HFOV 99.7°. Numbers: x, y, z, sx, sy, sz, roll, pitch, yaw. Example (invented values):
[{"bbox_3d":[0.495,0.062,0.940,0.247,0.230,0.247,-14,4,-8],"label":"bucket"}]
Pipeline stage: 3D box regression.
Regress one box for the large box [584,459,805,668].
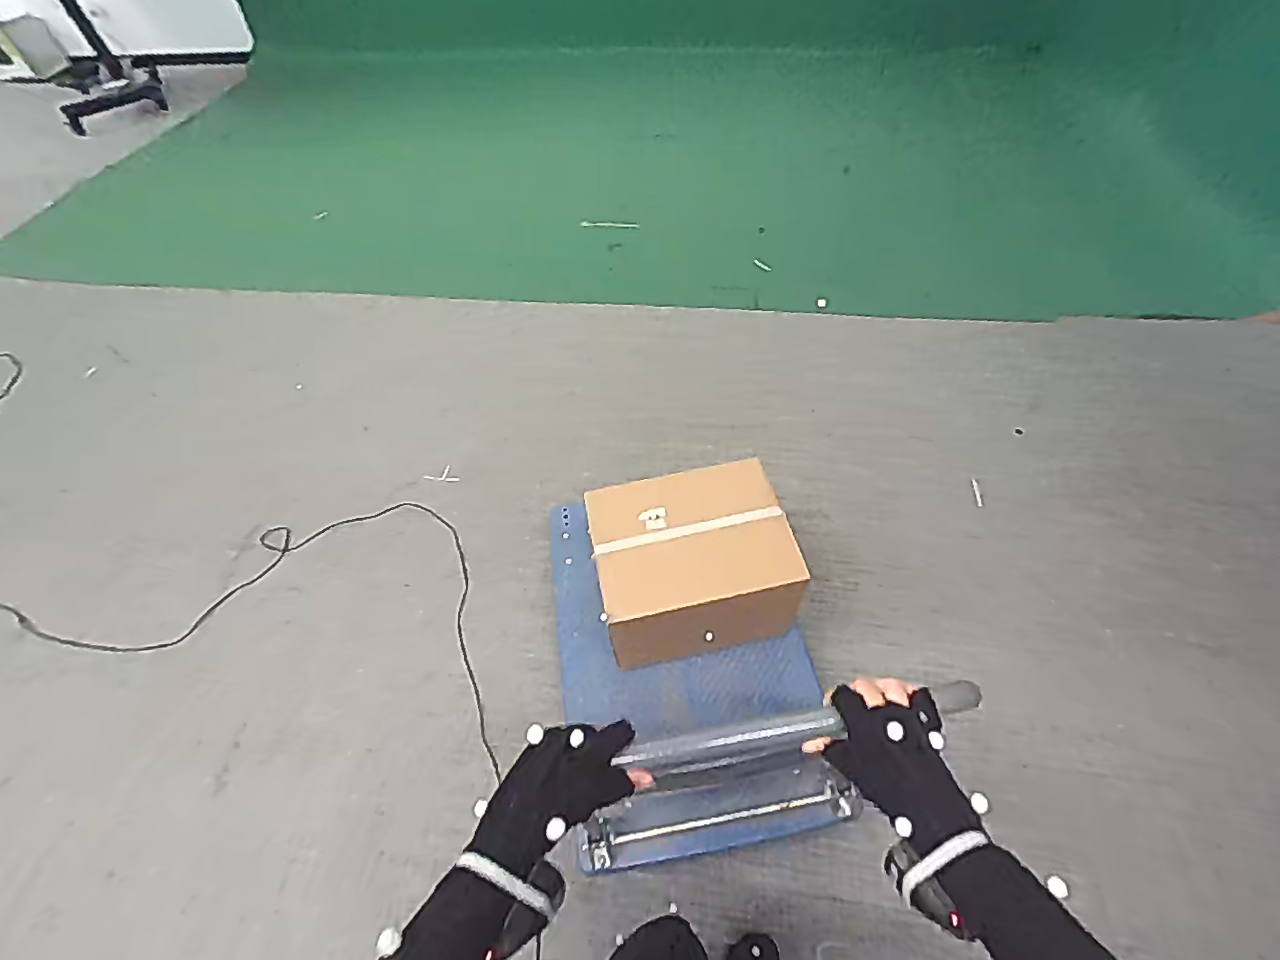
[{"bbox_3d":[0.113,0.199,1.247,0.408,0.320,0.320,-12,53,-4],"label":"large box"}]
